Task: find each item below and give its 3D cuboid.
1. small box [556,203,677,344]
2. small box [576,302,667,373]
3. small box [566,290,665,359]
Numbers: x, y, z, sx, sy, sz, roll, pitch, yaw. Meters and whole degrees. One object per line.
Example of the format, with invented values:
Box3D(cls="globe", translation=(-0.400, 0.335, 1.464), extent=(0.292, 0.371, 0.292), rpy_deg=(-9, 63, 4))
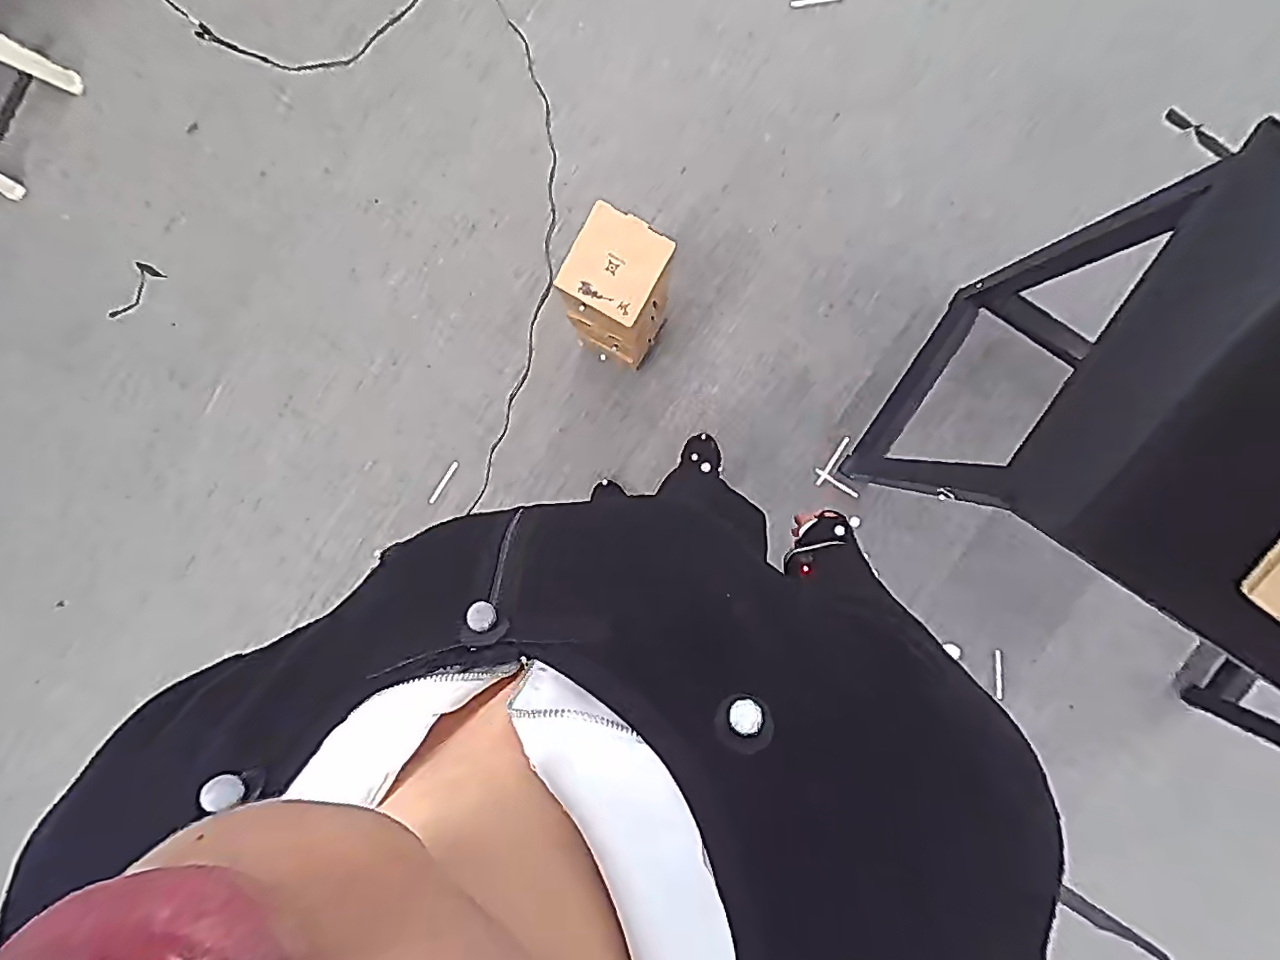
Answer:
Box3D(cls="small box", translation=(-0.044, -0.394, 1.063), extent=(0.168, 0.176, 0.179), rpy_deg=(30, 93, -1))
Box3D(cls="small box", translation=(-0.045, -0.397, 1.390), extent=(0.168, 0.176, 0.179), rpy_deg=(30, 94, 0))
Box3D(cls="small box", translation=(-0.047, -0.394, 1.228), extent=(0.168, 0.176, 0.179), rpy_deg=(26, 92, -1))
